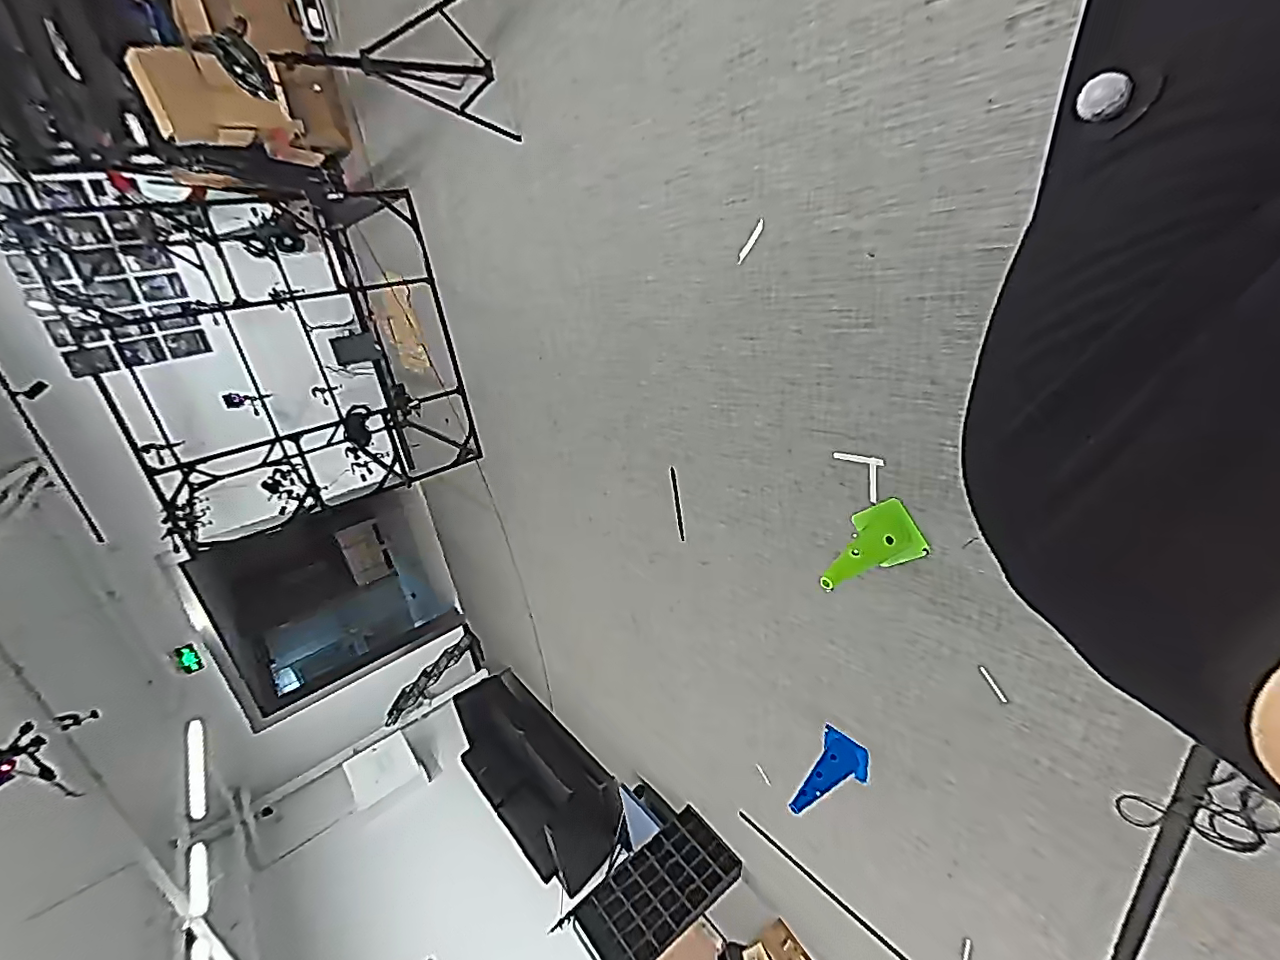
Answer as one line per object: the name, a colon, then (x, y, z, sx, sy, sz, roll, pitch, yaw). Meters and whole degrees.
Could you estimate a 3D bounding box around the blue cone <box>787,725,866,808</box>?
blue cone: (0.745, 1.212, 2.213, 0.192, 0.380, 0.193, 24, 129, 47)

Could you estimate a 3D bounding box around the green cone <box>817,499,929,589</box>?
green cone: (0.669, 0.231, 1.653, 0.200, 0.368, 0.202, 61, 149, 9)
